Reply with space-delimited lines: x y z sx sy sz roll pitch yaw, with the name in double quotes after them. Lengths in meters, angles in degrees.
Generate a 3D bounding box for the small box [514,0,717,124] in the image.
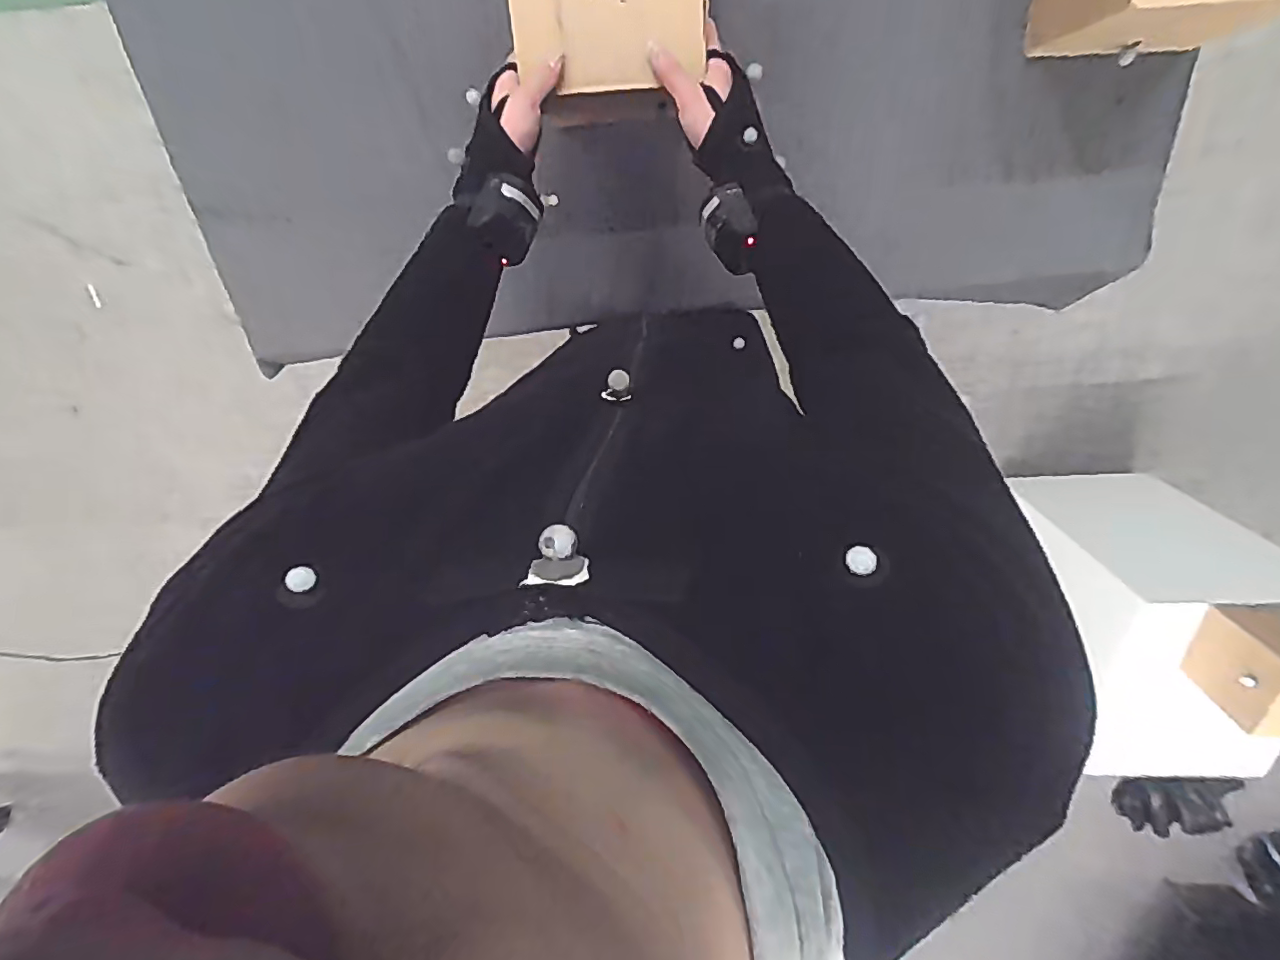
-0.019 -0.461 0.526 0.179 0.176 0.168 -2 115 5 "small box"

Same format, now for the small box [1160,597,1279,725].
1.169 0.339 1.035 0.168 0.176 0.179 -2 119 4 "small box"

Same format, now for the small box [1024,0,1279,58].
0.502 -0.499 0.484 0.179 0.176 0.168 0 118 2 "small box"
